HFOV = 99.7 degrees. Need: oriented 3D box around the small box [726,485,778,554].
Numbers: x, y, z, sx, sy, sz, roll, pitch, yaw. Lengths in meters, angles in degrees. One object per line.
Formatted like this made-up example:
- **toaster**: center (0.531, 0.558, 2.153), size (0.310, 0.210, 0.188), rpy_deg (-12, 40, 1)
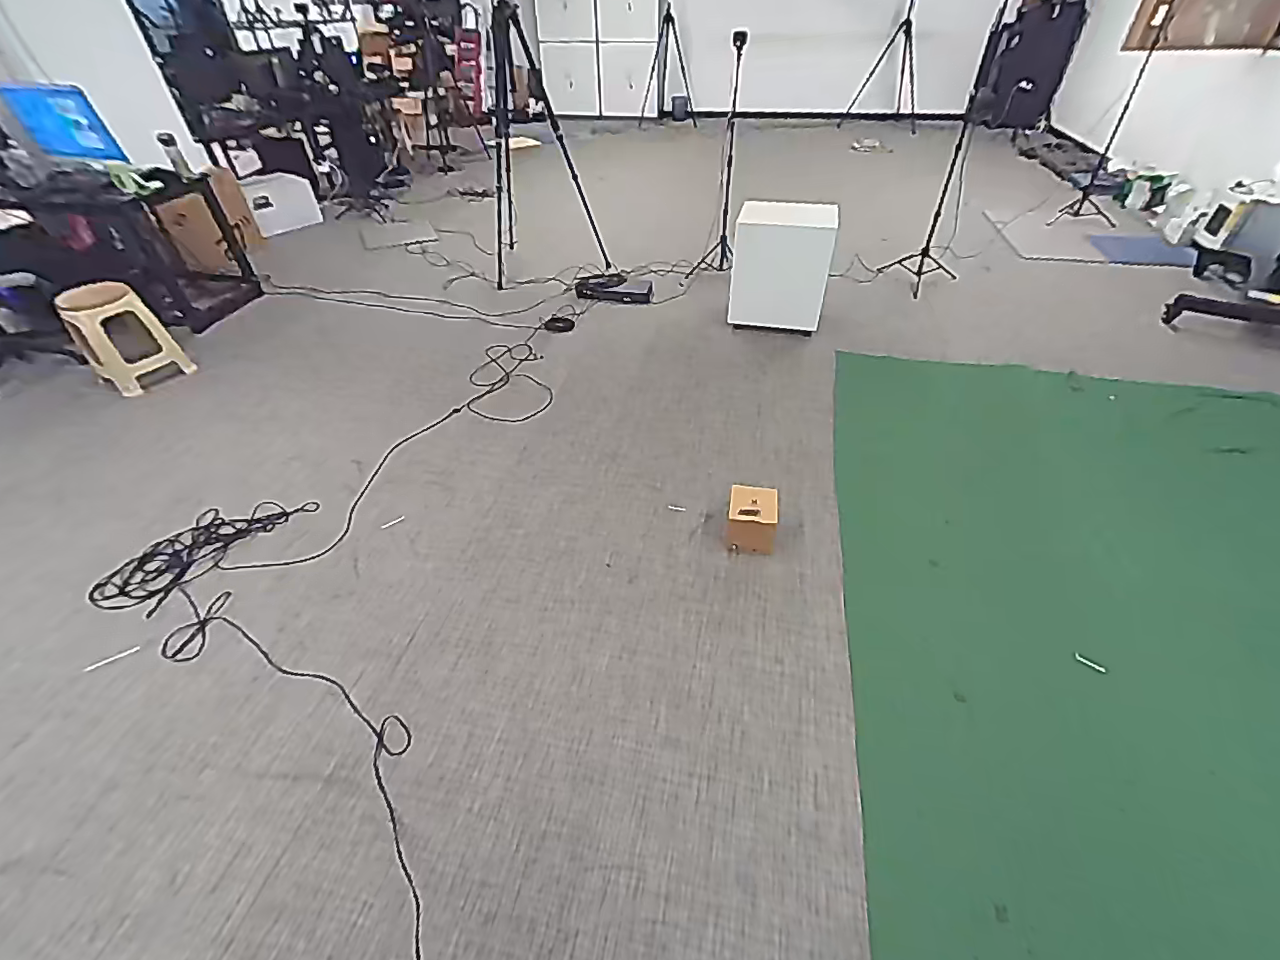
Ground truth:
- **small box**: center (0.400, 0.145, 1.937), size (0.168, 0.176, 0.179), rpy_deg (7, 42, 9)
